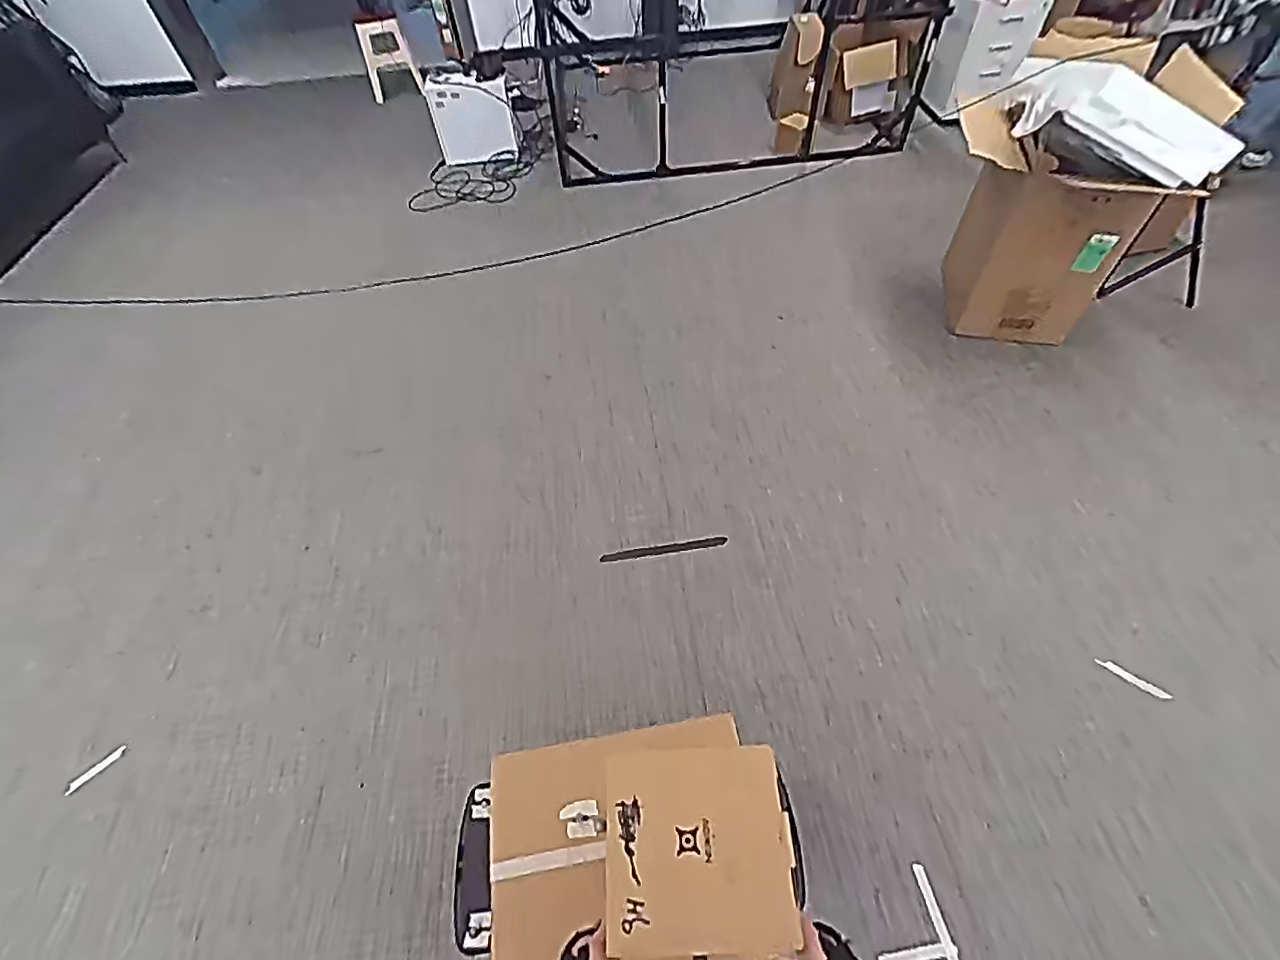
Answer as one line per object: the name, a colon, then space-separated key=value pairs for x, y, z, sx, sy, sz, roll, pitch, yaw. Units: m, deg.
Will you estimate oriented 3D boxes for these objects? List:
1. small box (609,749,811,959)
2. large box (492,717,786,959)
small box: x=0.061 y=0.392 z=0.571 sx=0.179 sy=0.176 sz=0.168 roll=-2 pitch=51 yaw=1
large box: x=-0.005 y=0.633 z=0.906 sx=0.408 sy=0.320 sz=0.320 roll=-10 pitch=52 yaw=-3
